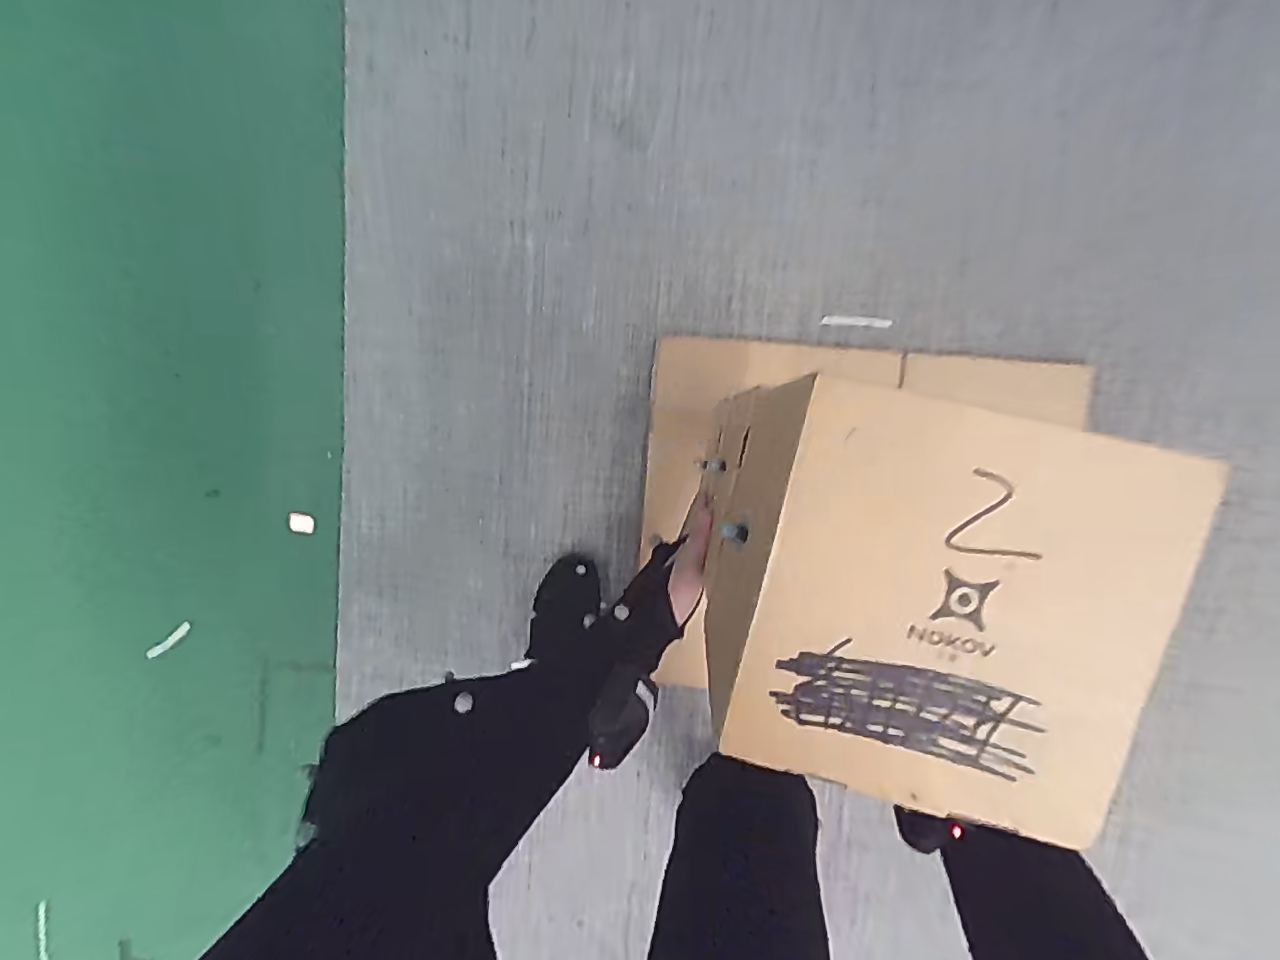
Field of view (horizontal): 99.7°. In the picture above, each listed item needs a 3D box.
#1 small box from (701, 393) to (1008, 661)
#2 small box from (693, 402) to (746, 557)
[{"bbox_3d":[0.156,0.025,0.460,0.179,0.176,0.168,12,97,3],"label":"small box"},{"bbox_3d":[0.163,0.007,0.622,0.179,0.176,0.168,11,97,3],"label":"small box"}]
